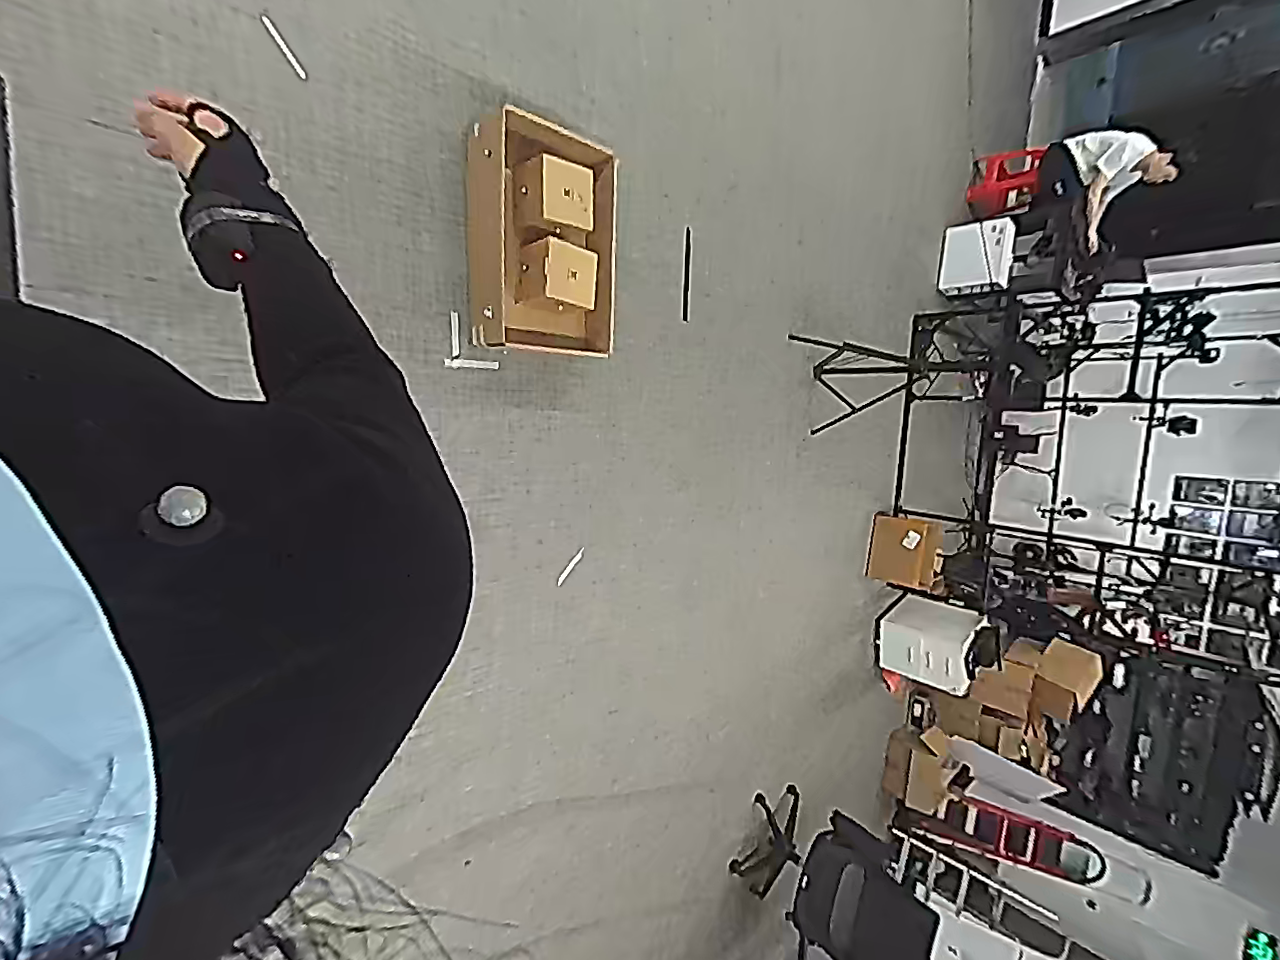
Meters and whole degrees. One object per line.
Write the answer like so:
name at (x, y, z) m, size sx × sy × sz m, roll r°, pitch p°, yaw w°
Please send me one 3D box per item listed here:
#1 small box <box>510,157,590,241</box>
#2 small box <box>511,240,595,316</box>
small box at (-0.266, -0.811, 1.582) m, size 0.179 × 0.176 × 0.168 m, roll -8°, pitch 104°, yaw -44°
small box at (-0.262, -0.598, 1.626) m, size 0.179 × 0.176 × 0.168 m, roll 2°, pitch 95°, yaw -44°
